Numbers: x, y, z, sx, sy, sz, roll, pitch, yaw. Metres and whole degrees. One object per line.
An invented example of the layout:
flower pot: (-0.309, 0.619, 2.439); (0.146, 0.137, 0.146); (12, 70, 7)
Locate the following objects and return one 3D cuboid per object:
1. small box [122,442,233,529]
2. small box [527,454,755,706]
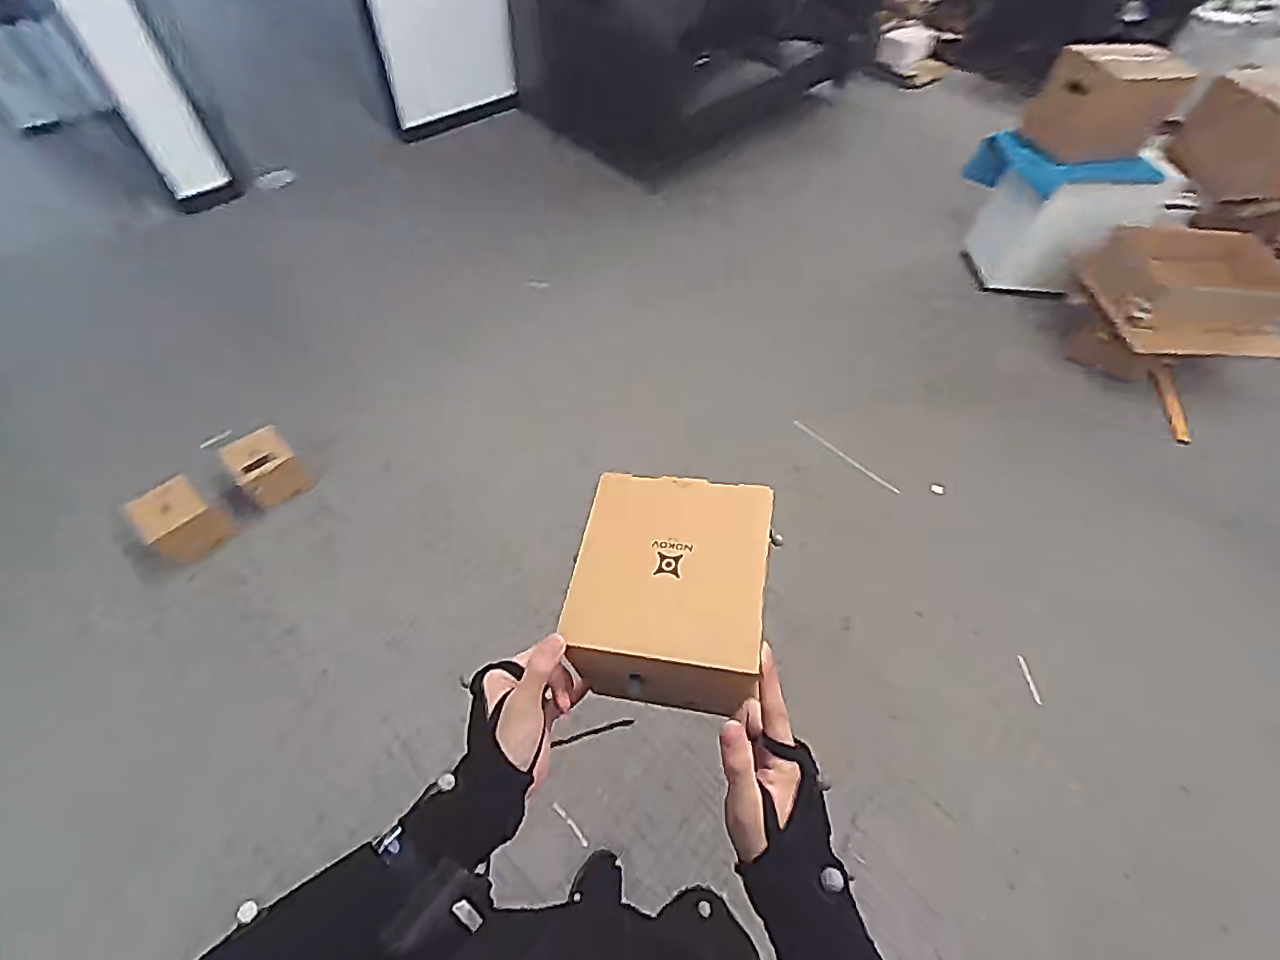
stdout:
small box: (-1.381, 0.026, 1.628); (0.168, 0.176, 0.179); (-38, 68, -26)
small box: (0.016, 0.100, 0.517); (0.168, 0.176, 0.179); (7, 56, 12)
